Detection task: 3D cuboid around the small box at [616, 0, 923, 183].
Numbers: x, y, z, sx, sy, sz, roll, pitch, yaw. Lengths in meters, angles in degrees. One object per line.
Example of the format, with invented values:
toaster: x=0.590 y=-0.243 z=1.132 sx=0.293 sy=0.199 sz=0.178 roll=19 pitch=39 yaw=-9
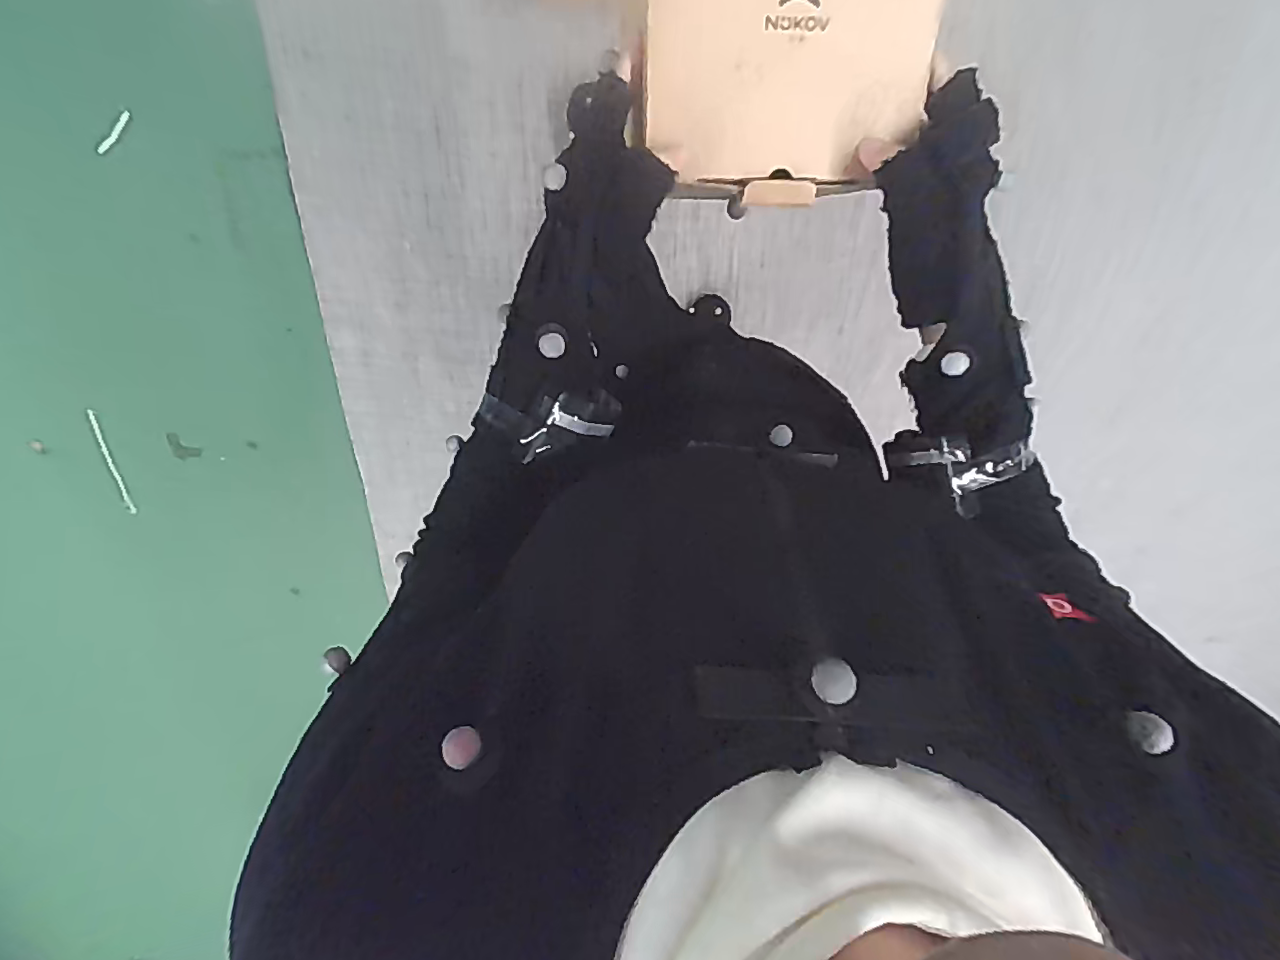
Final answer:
small box: x=0.071 y=-0.305 z=0.369 sx=0.168 sy=0.176 sz=0.179 roll=-3 pitch=116 yaw=-5
